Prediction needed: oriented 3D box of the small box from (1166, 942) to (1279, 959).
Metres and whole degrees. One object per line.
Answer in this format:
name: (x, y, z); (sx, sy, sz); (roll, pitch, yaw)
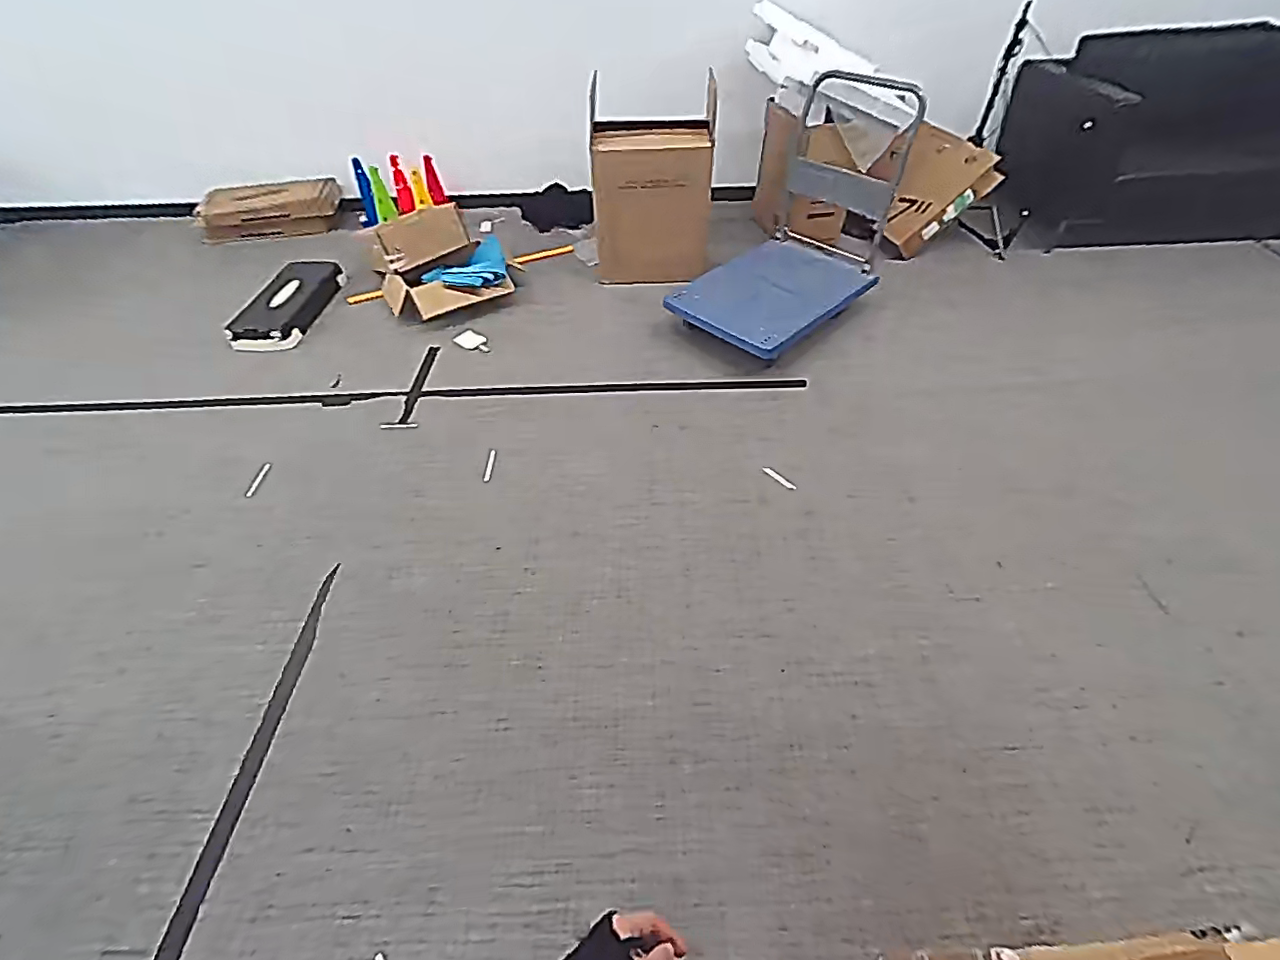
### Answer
small box: (0.675, 0.585, 0.541); (0.168, 0.176, 0.179); (-5, 45, -1)
